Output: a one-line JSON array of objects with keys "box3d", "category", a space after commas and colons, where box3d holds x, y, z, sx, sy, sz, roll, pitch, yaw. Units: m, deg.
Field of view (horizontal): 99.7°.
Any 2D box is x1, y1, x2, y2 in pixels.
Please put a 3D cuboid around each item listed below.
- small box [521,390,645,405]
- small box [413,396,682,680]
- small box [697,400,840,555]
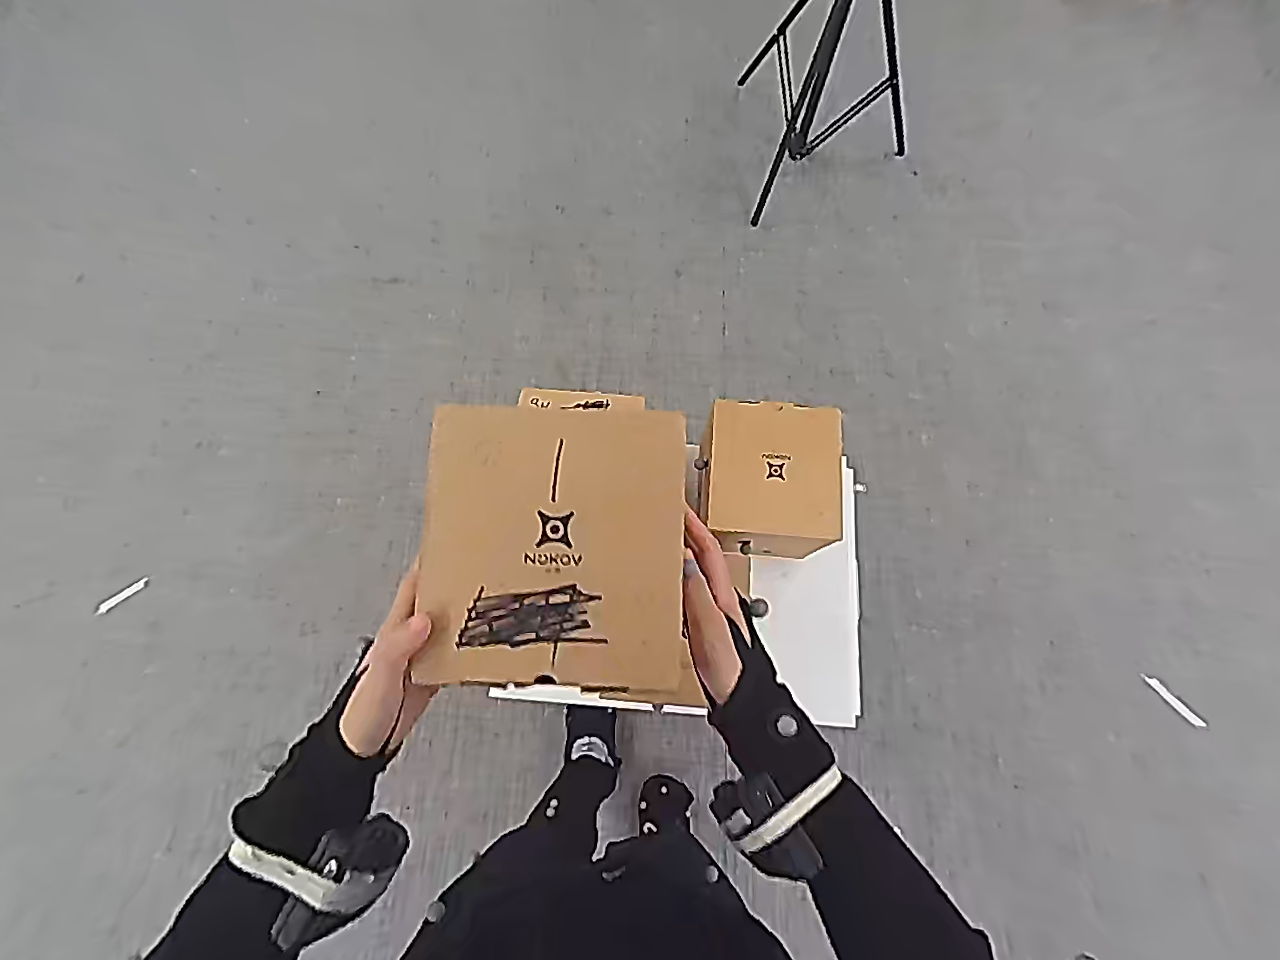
[{"box3d": [-0.080, -0.008, 0.758, 0.168, 0.176, 0.179, 4, 75, 0], "category": "small box"}, {"box3d": [-0.056, 0.044, 0.423, 0.168, 0.176, 0.179, 2, 82, 0], "category": "small box"}, {"box3d": [0.170, 0.006, 0.756, 0.168, 0.176, 0.179, 4, 73, 2], "category": "small box"}]
